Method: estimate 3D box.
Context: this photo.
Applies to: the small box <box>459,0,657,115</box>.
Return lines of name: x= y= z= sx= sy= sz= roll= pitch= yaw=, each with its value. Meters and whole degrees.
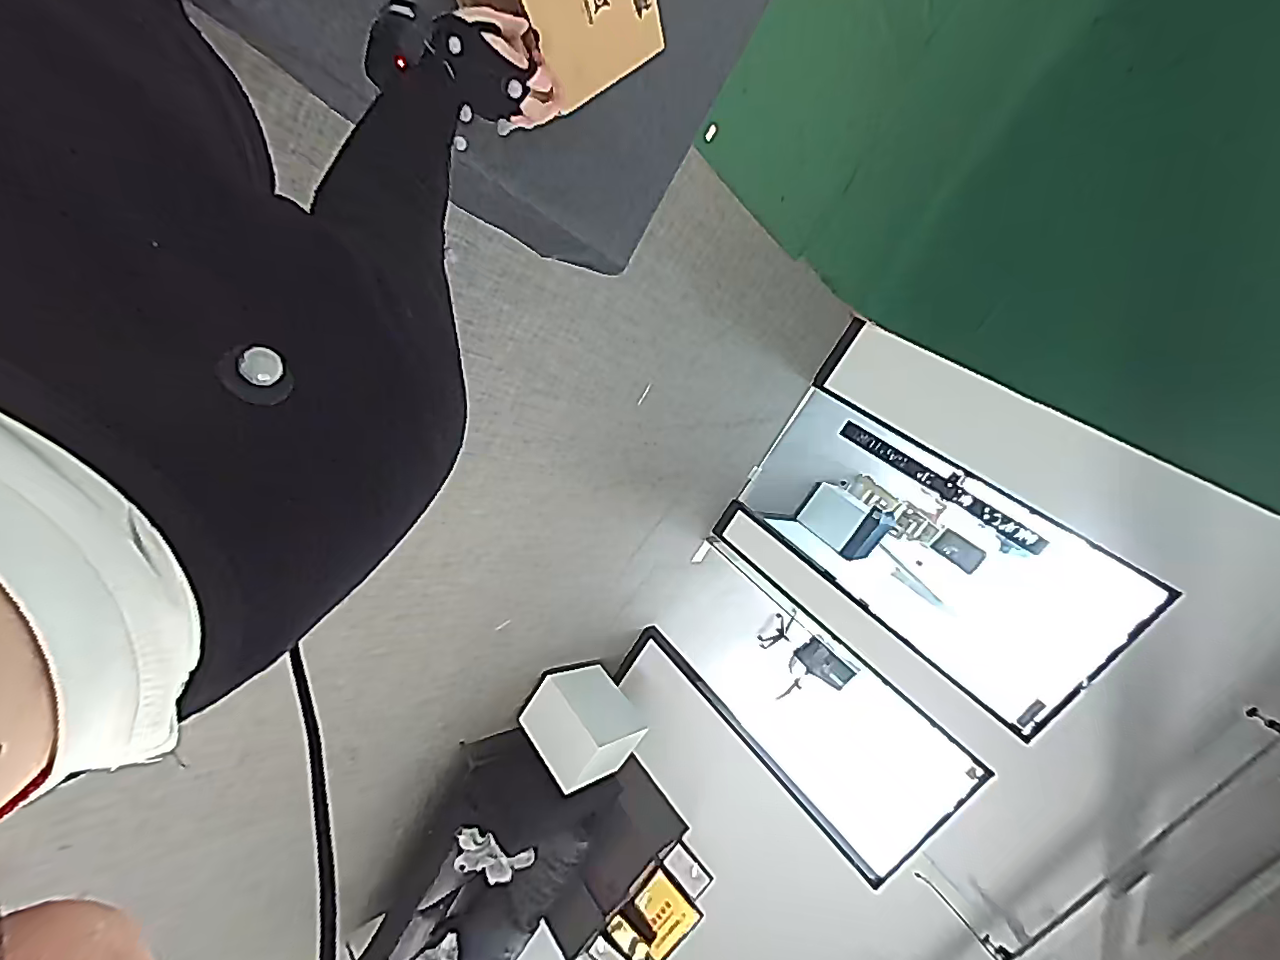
small box: x=-0.110 y=-0.584 z=0.656 sx=0.179 sy=0.176 sz=0.168 roll=-40 pitch=146 yaw=-11
